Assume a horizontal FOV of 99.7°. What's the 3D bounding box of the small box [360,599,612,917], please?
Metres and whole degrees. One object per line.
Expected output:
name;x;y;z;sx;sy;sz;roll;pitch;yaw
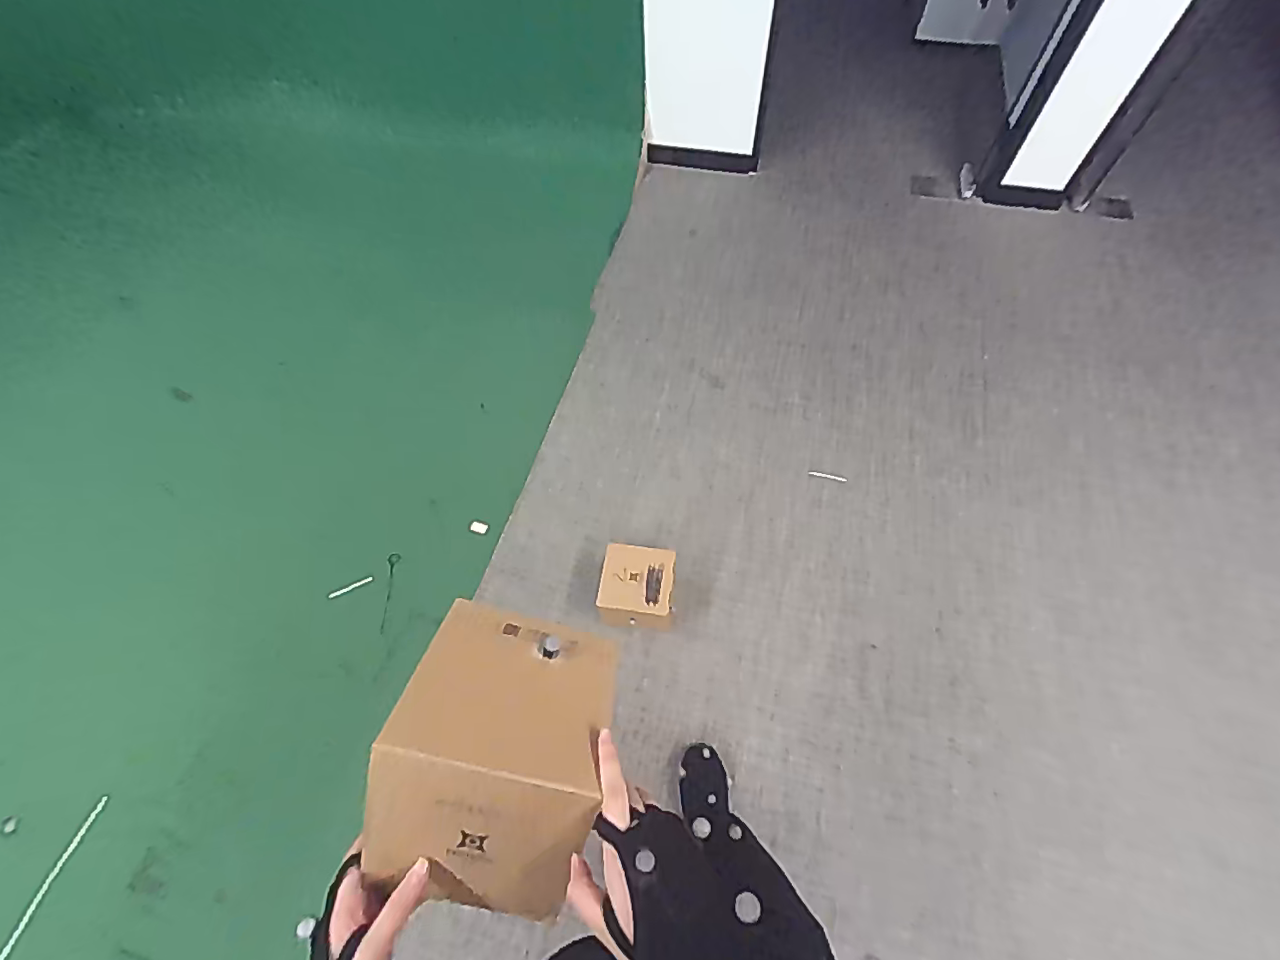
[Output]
small box;-0.127;0.242;0.492;0.168;0.179;0.176;16;24;-5
